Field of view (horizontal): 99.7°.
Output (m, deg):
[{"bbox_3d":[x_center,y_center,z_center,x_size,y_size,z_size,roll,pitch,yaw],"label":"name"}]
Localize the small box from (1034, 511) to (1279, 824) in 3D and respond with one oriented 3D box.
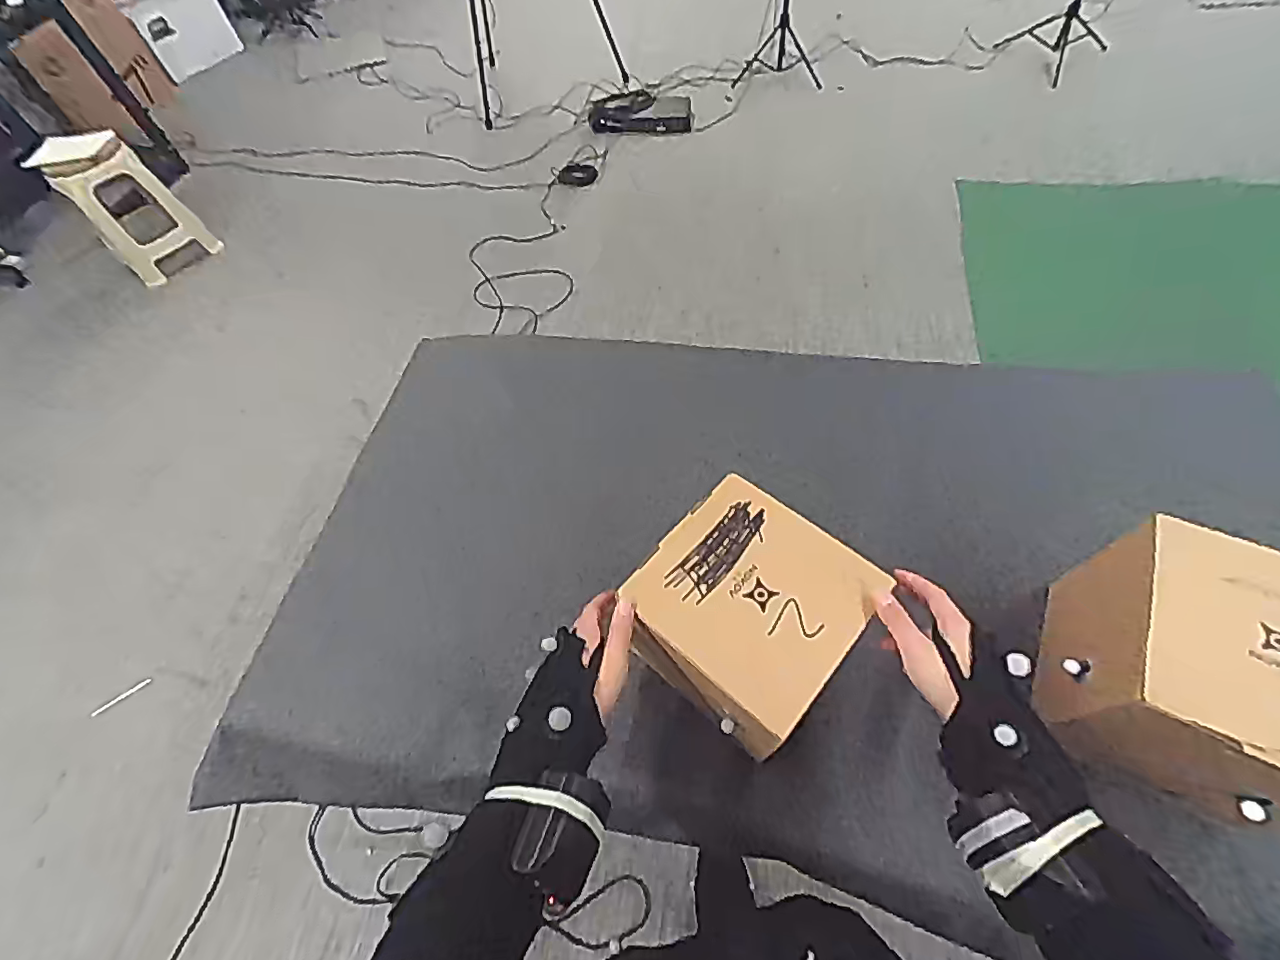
[{"bbox_3d":[0.473,0.163,0.459,0.168,0.176,0.179,22,61,18],"label":"small box"}]
